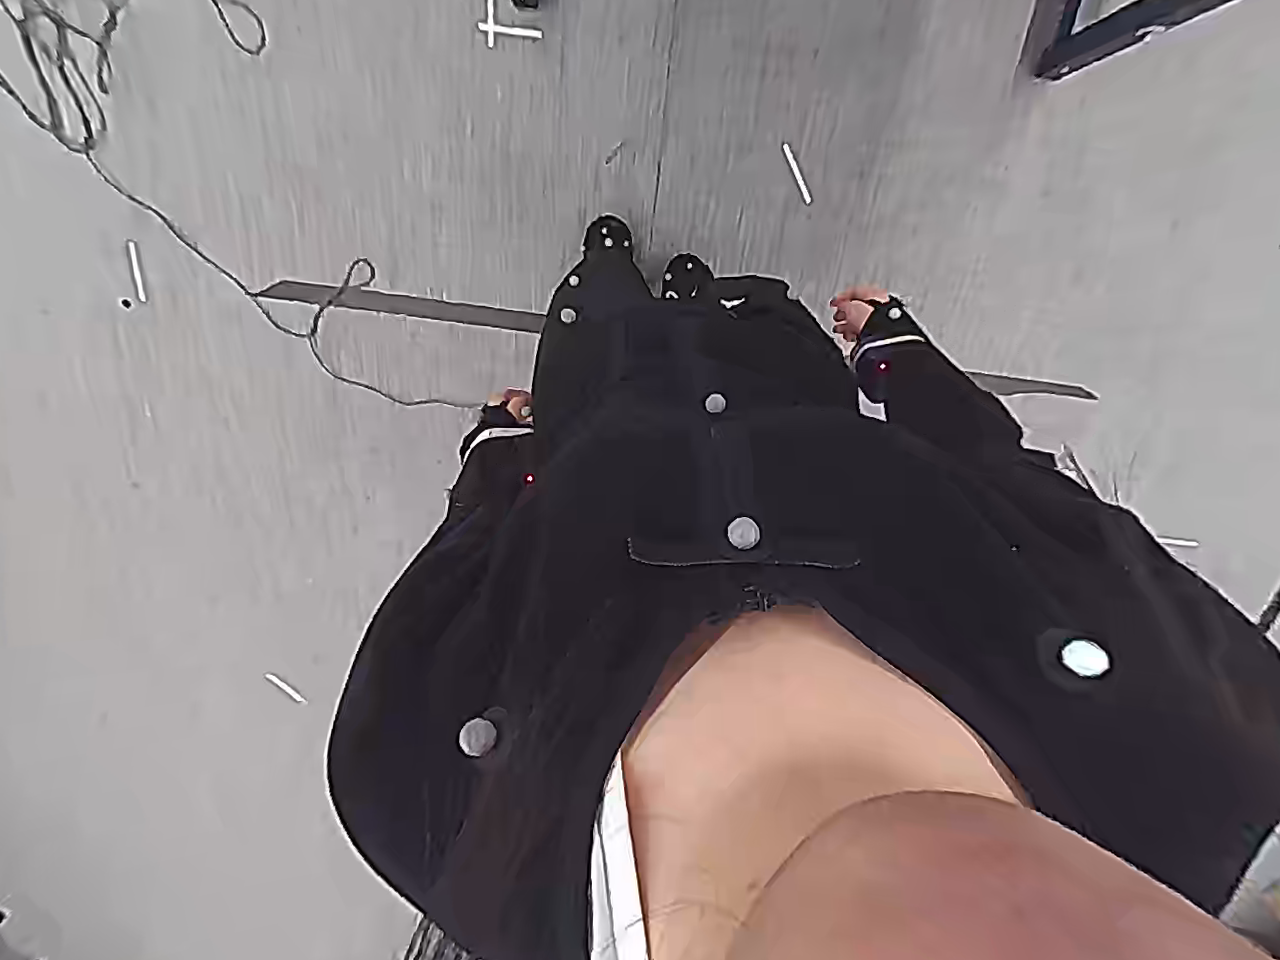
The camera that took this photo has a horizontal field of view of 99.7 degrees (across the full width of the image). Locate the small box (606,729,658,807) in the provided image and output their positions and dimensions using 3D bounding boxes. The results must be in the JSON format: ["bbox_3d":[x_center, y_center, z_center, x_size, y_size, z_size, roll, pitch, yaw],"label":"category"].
[{"bbox_3d":[-0.027,0.979,1.847,0.168,0.176,0.179,3,112,0],"label":"small box"}]
